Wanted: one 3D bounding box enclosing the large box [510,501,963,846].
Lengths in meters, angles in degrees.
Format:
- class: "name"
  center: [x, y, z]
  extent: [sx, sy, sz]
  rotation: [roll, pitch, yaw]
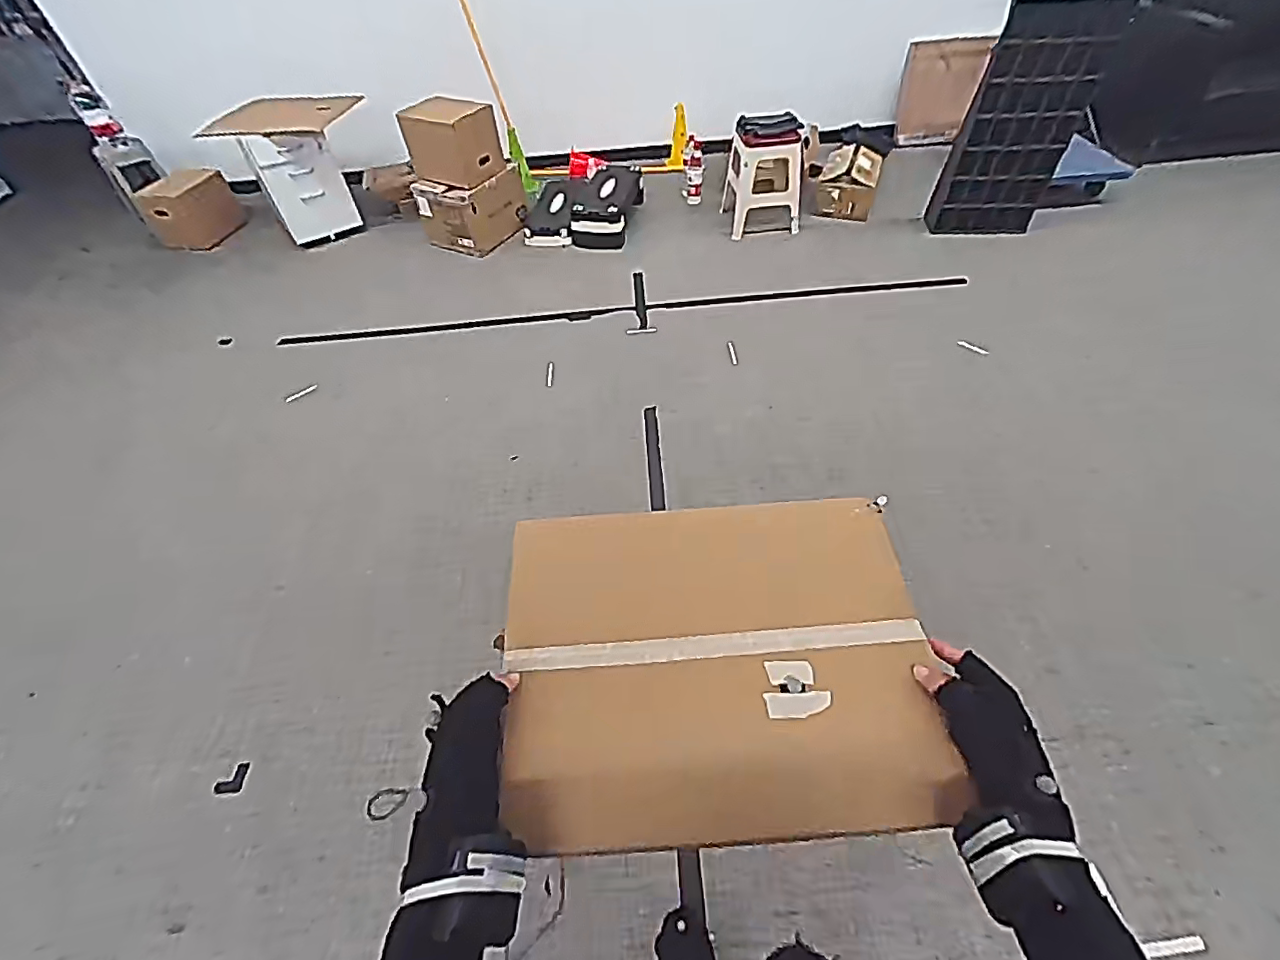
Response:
- class: "large box"
  center: [0.077, 0.250, 0.668]
  extent: [0.408, 0.320, 0.320]
  rotation: [-4, 57, -1]
